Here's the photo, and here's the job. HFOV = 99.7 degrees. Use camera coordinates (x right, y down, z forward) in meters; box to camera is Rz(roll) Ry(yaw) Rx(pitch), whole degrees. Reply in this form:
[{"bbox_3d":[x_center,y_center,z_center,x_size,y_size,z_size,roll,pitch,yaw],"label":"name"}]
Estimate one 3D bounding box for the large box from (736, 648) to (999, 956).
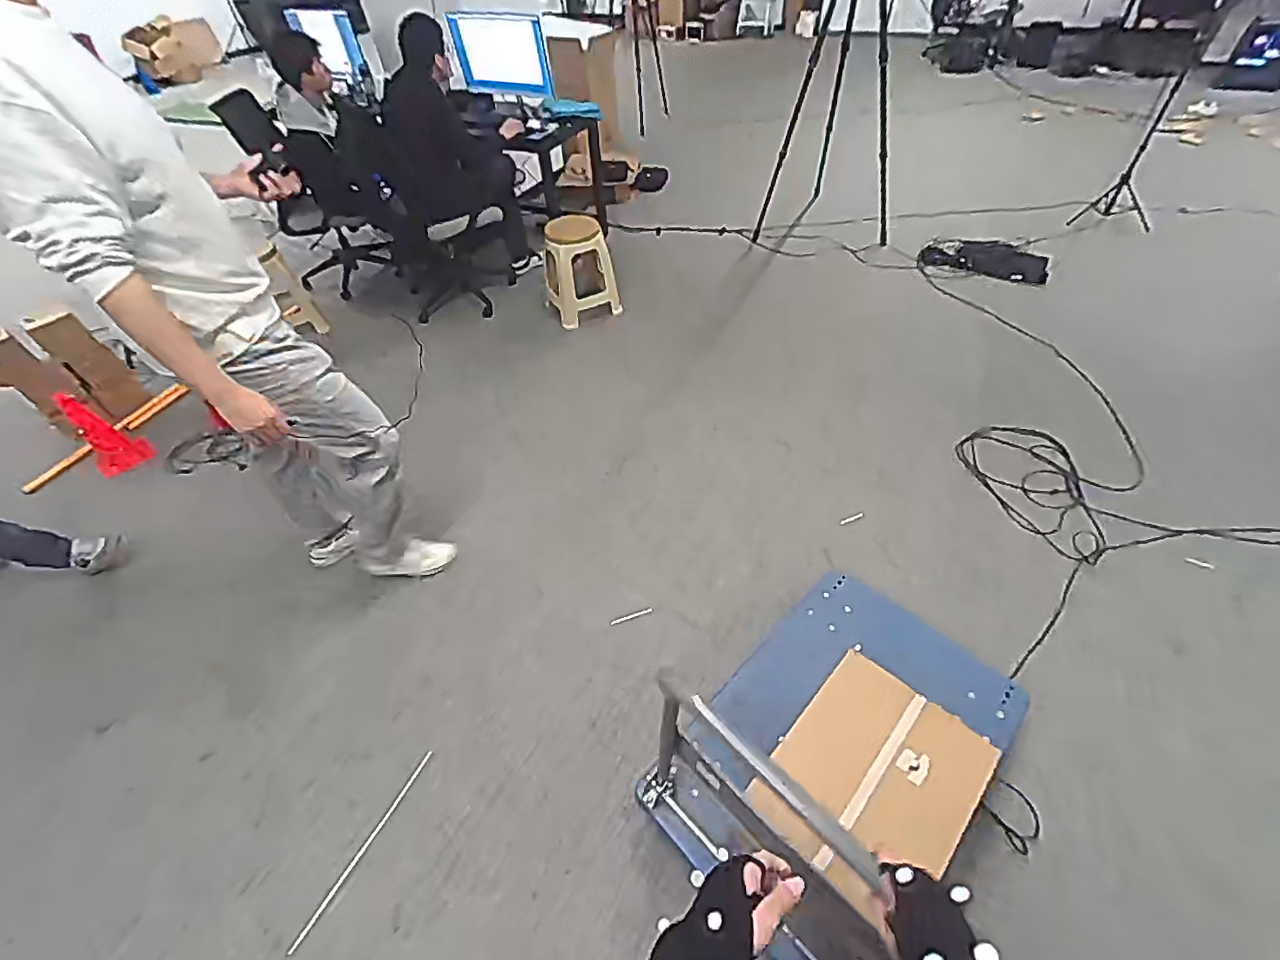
[{"bbox_3d":[0.442,0.644,1.108,0.320,0.320,0.408,34,57,29],"label":"large box"}]
